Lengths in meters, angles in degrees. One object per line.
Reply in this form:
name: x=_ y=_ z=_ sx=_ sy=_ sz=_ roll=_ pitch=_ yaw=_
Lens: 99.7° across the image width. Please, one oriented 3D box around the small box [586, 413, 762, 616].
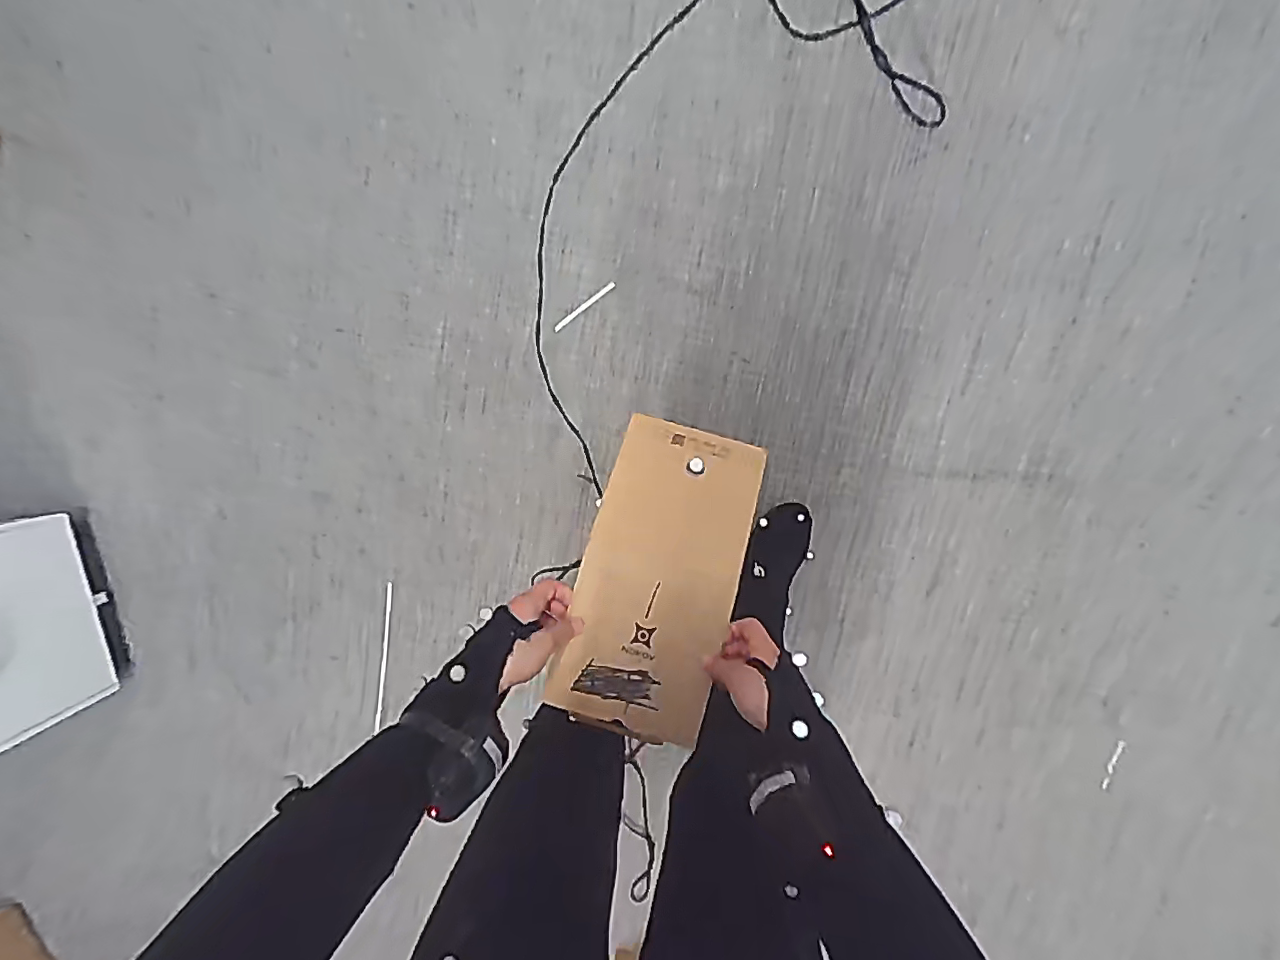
small box: x=0.039 y=0.047 z=0.664 sx=0.168 sy=0.179 sz=0.176 roll=17 pitch=65 yaw=3
